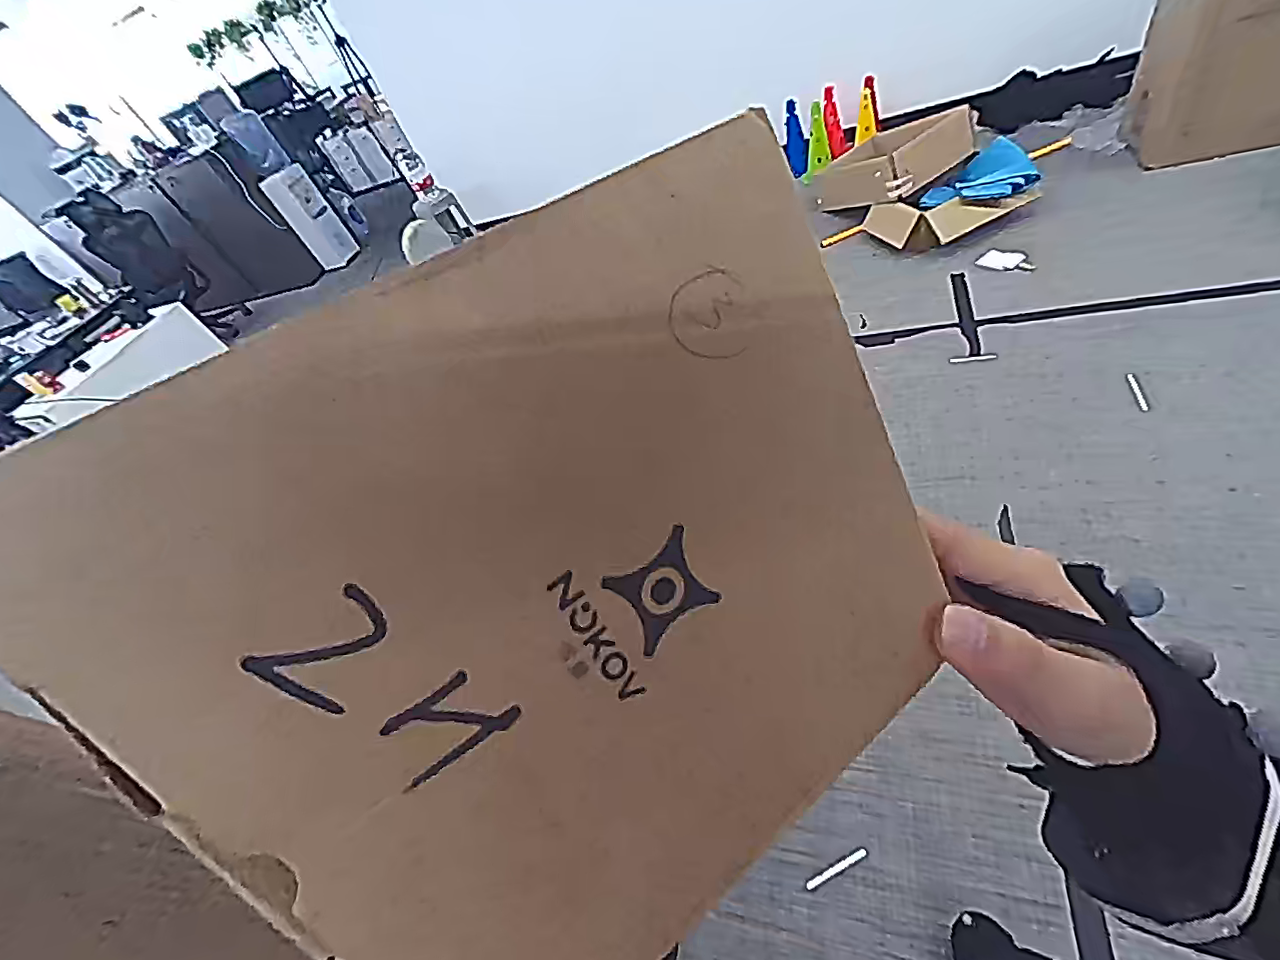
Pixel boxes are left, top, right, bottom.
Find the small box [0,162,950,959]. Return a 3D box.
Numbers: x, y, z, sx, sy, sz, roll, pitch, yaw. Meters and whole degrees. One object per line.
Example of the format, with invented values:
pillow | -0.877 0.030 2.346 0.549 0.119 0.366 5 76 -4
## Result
small box | -0.033 0.025 0.204 0.179 0.168 0.176 -34 16 -17
